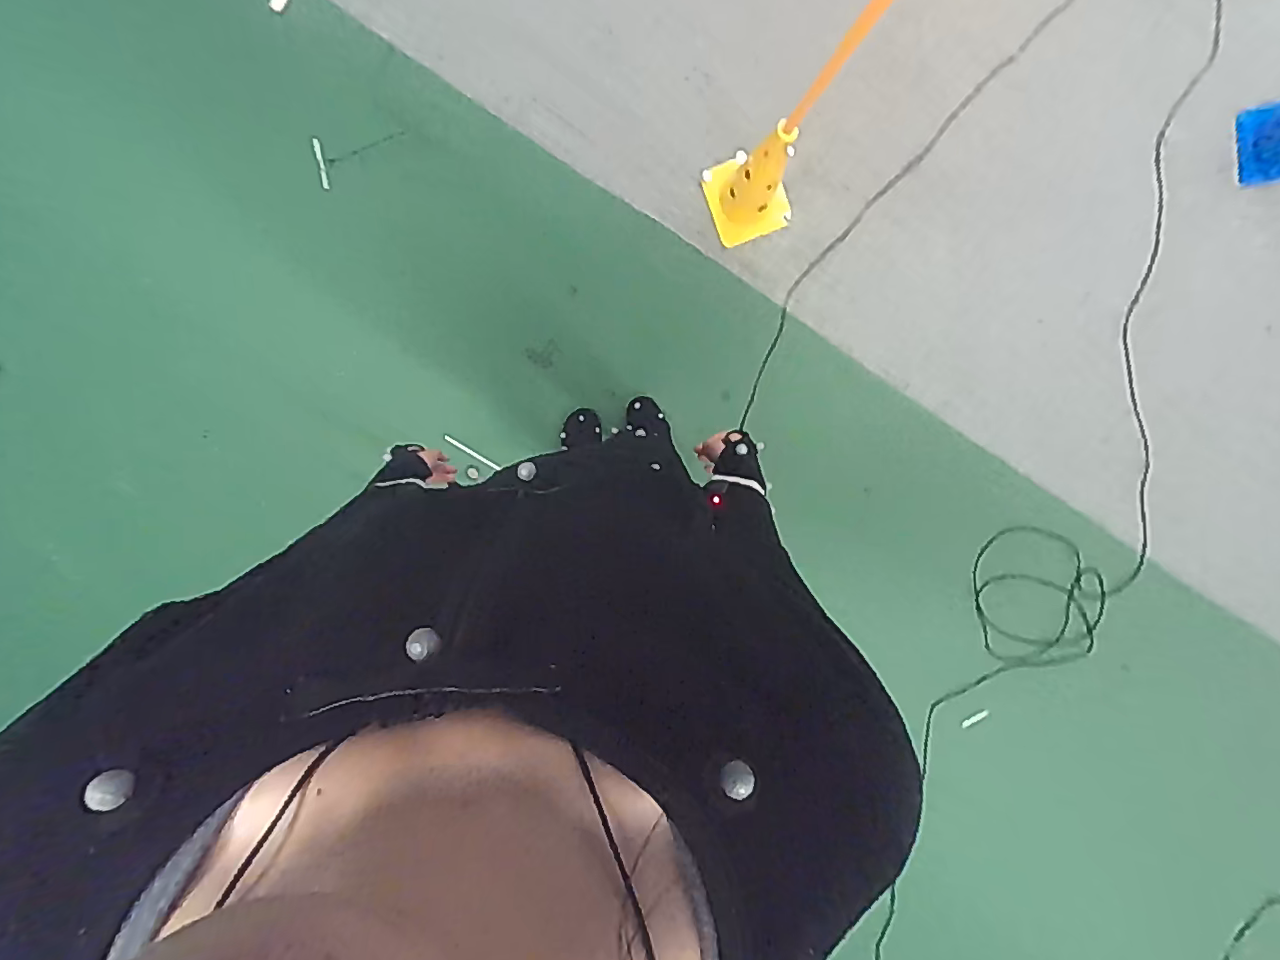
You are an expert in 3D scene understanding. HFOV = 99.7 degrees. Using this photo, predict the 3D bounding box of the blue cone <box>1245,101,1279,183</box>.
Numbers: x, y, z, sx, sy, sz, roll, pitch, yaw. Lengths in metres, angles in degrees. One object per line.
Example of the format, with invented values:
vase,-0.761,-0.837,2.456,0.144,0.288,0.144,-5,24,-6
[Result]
blue cone,1.716,-0.887,1.276,0.193,0.380,0.192,-14,97,-3
